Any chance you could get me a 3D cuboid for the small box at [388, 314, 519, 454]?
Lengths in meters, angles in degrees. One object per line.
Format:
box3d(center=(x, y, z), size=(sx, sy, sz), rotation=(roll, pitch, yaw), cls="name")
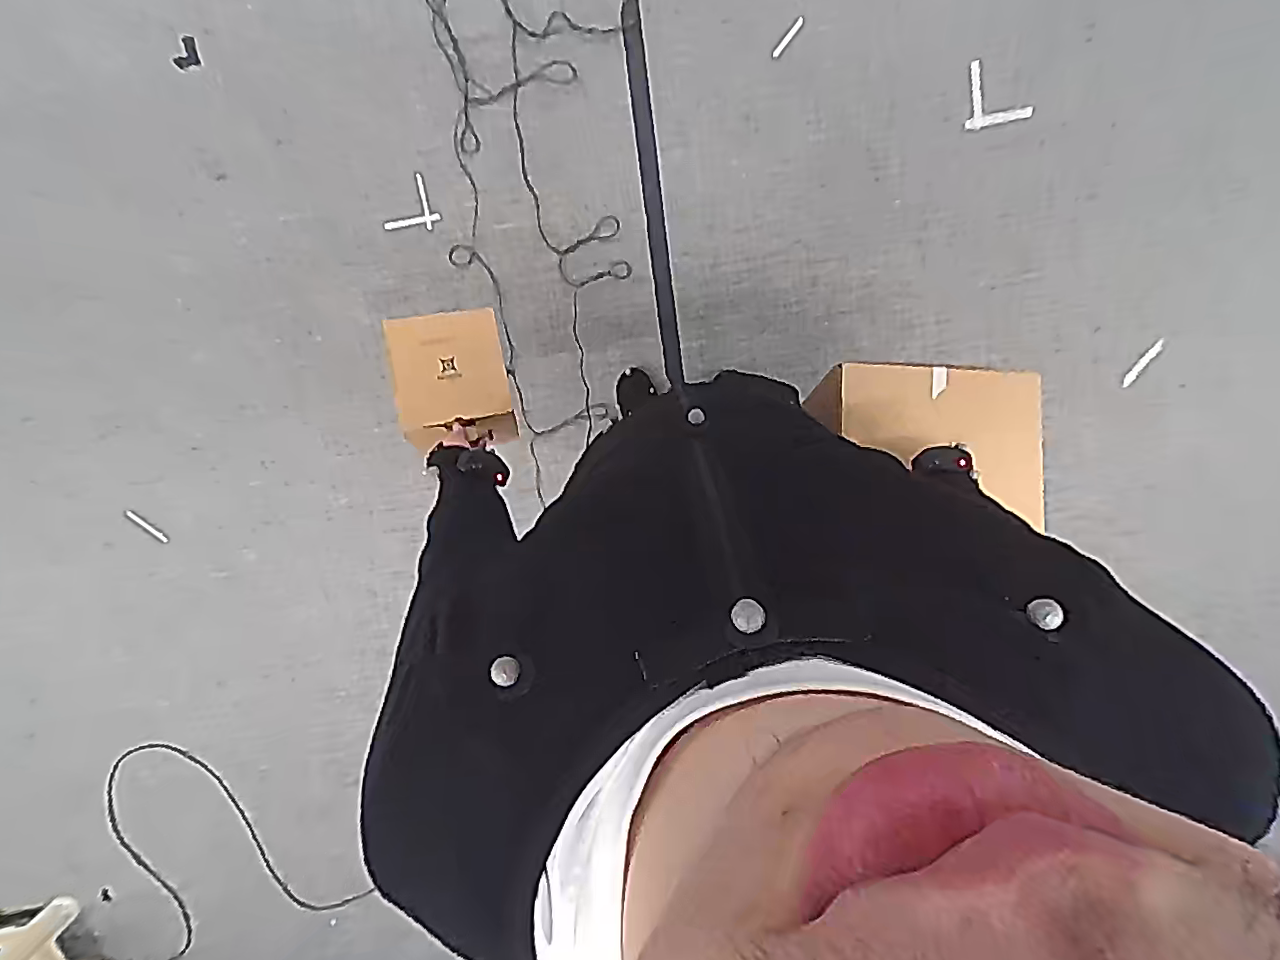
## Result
box3d(center=(-0.301, -0.150, 0.905), size=(0.168, 0.176, 0.179), rotation=(-12, 80, -13), cls="small box")
